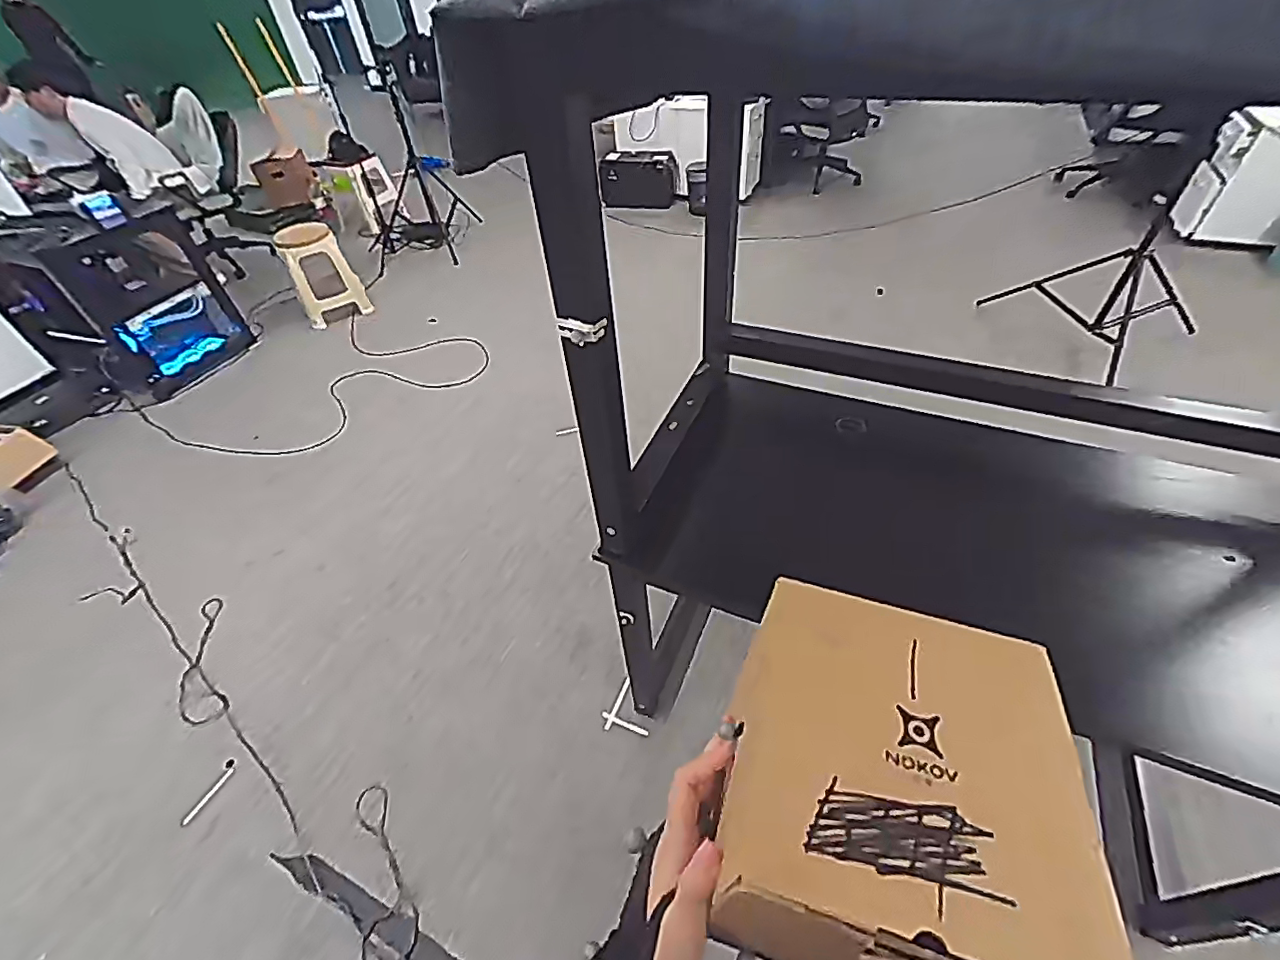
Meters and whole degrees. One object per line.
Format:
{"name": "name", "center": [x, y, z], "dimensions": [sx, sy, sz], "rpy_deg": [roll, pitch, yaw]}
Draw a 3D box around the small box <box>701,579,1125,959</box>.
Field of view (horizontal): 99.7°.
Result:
{"name": "small box", "center": [0.140, 0.198, 0.341], "dimensions": [0.168, 0.176, 0.179], "rpy_deg": [14, 44, 9]}
